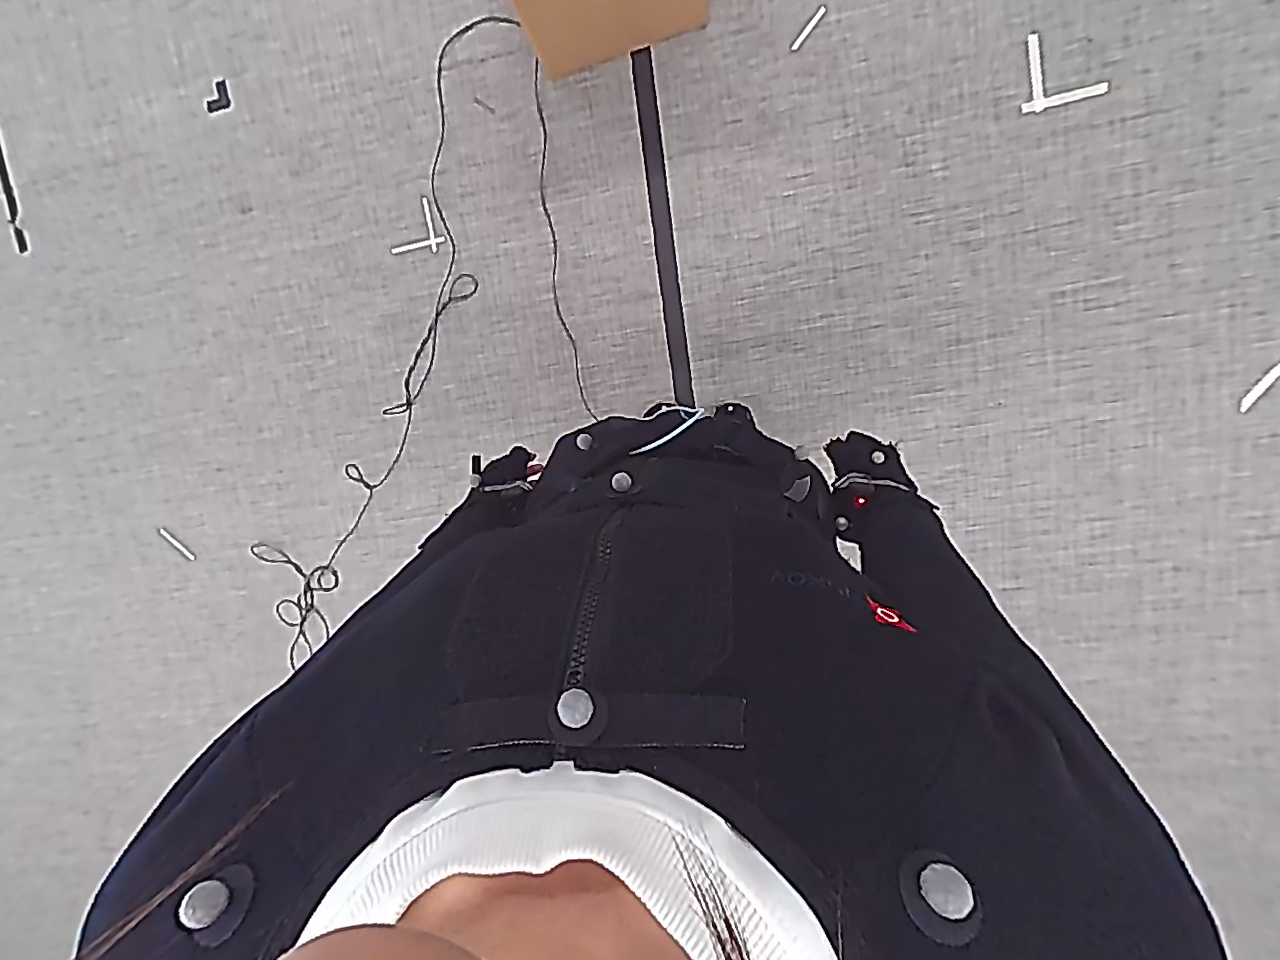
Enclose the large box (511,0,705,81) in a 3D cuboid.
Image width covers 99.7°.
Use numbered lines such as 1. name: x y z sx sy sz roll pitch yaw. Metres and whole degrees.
1. large box: -0.091 -1.146 1.137 0.408 0.320 0.320 -14 98 8
